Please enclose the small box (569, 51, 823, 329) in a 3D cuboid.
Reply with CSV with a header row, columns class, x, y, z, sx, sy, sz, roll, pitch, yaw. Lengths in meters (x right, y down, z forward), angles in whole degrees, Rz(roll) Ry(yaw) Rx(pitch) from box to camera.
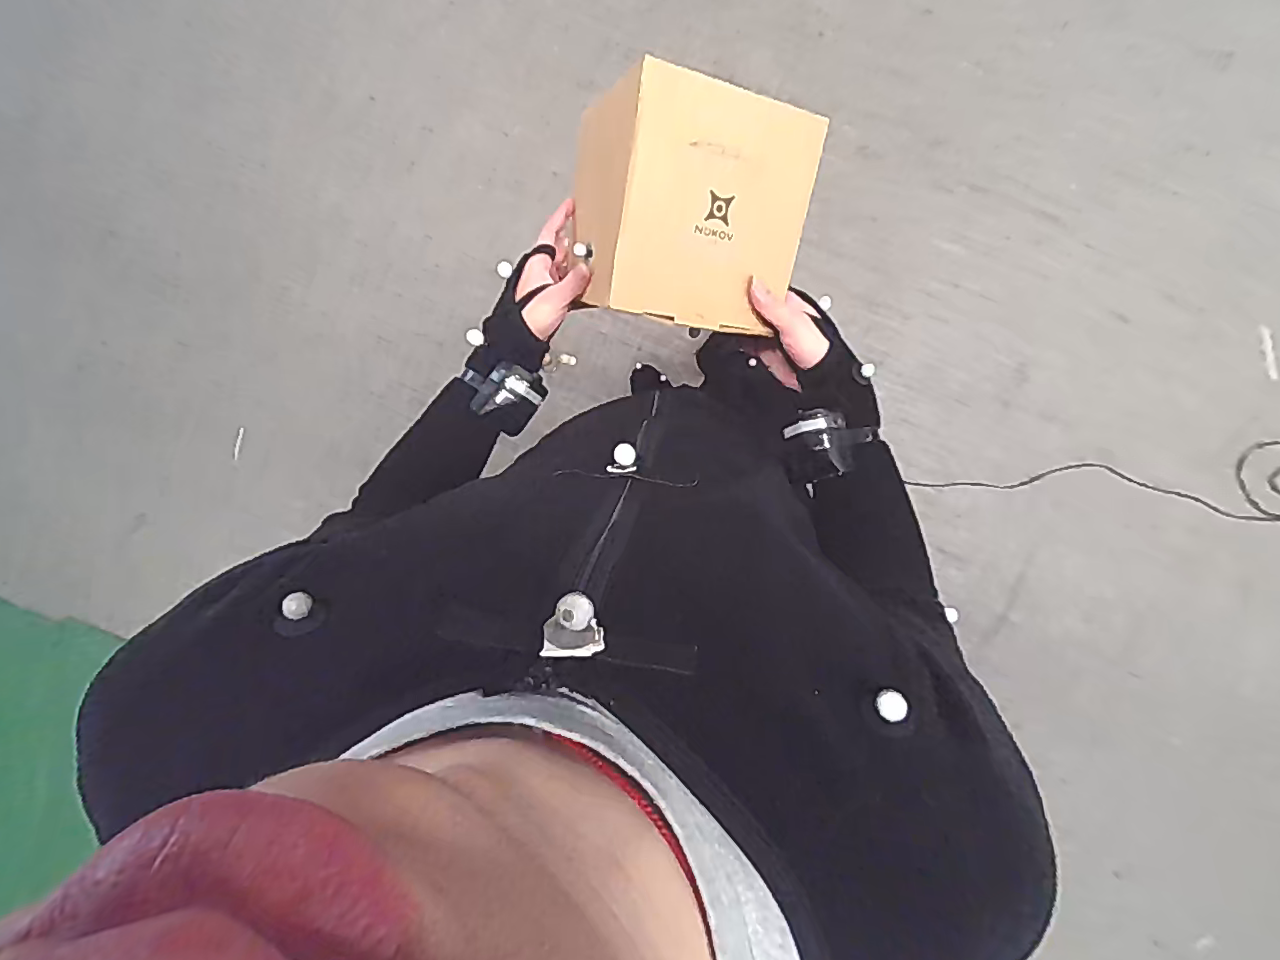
class,x,y,z,sx,sy,sz,roll,pitch,yaw
small box,0.035,-0.251,0.511,0.168,0.176,0.179,1,110,-23
